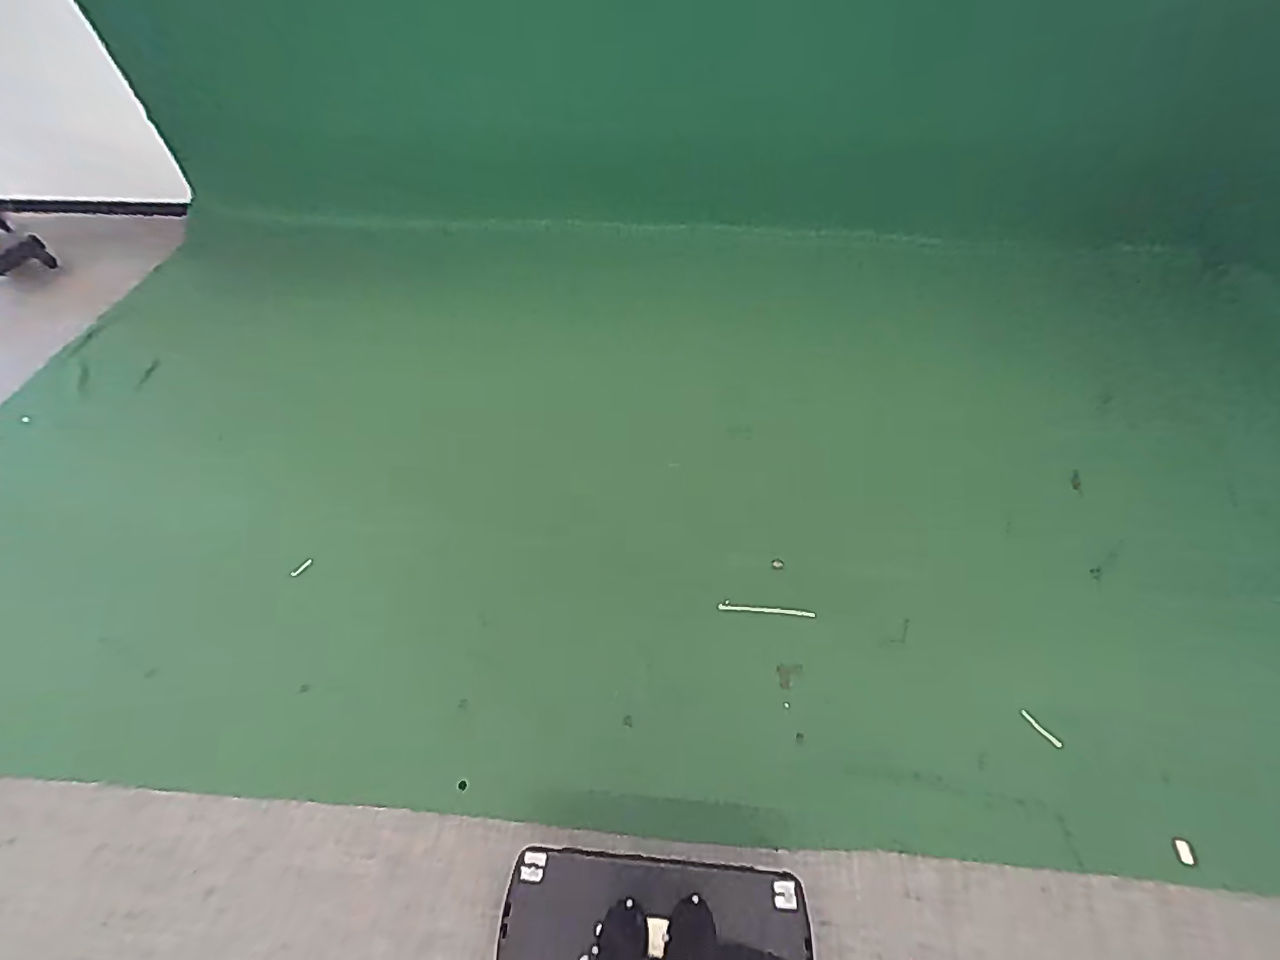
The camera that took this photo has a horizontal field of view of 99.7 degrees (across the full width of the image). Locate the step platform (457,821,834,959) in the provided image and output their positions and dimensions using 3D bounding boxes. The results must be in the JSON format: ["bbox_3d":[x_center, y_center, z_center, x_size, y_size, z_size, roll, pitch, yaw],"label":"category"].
[{"bbox_3d":[0.014,0.868,1.060,0.684,0.204,0.286,3,54,3],"label":"step platform"}]
